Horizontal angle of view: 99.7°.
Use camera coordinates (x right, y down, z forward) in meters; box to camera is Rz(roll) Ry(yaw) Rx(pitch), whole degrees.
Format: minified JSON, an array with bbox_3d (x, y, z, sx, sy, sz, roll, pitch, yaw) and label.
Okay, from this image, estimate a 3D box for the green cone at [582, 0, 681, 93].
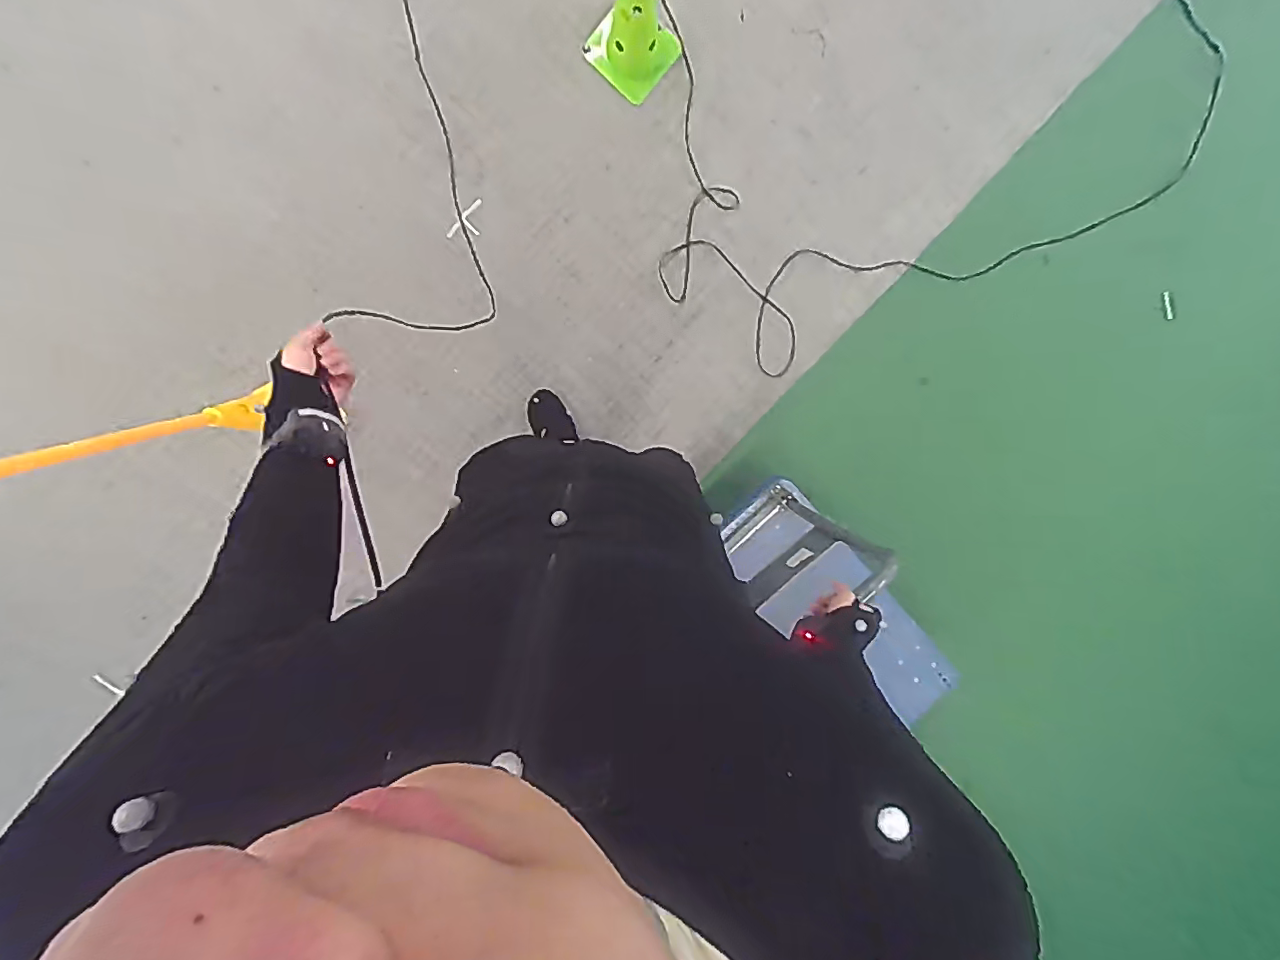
[{"bbox_3d":[-0.005,-1.115,1.232,0.200,0.368,0.202,39,94,-10],"label":"green cone"}]
